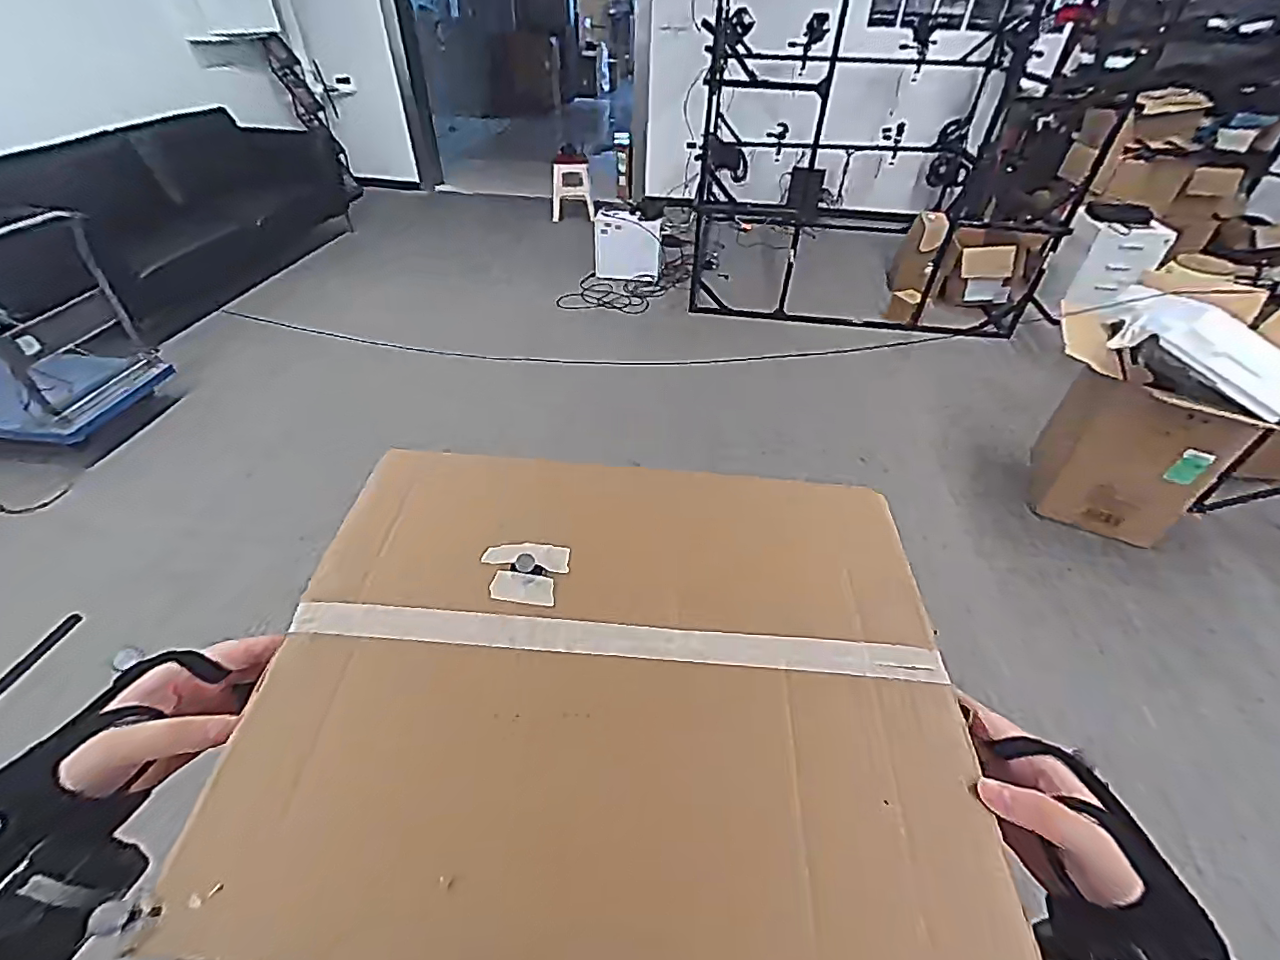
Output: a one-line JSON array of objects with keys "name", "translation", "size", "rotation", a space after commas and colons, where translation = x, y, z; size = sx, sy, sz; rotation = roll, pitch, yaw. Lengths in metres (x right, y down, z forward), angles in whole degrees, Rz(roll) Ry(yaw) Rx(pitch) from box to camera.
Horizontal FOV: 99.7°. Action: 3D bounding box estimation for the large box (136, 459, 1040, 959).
[{"name": "large box", "translation": [-0.016, 0.206, 0.439], "size": [0.408, 0.320, 0.320], "rotation": [4, 46, 1]}]
